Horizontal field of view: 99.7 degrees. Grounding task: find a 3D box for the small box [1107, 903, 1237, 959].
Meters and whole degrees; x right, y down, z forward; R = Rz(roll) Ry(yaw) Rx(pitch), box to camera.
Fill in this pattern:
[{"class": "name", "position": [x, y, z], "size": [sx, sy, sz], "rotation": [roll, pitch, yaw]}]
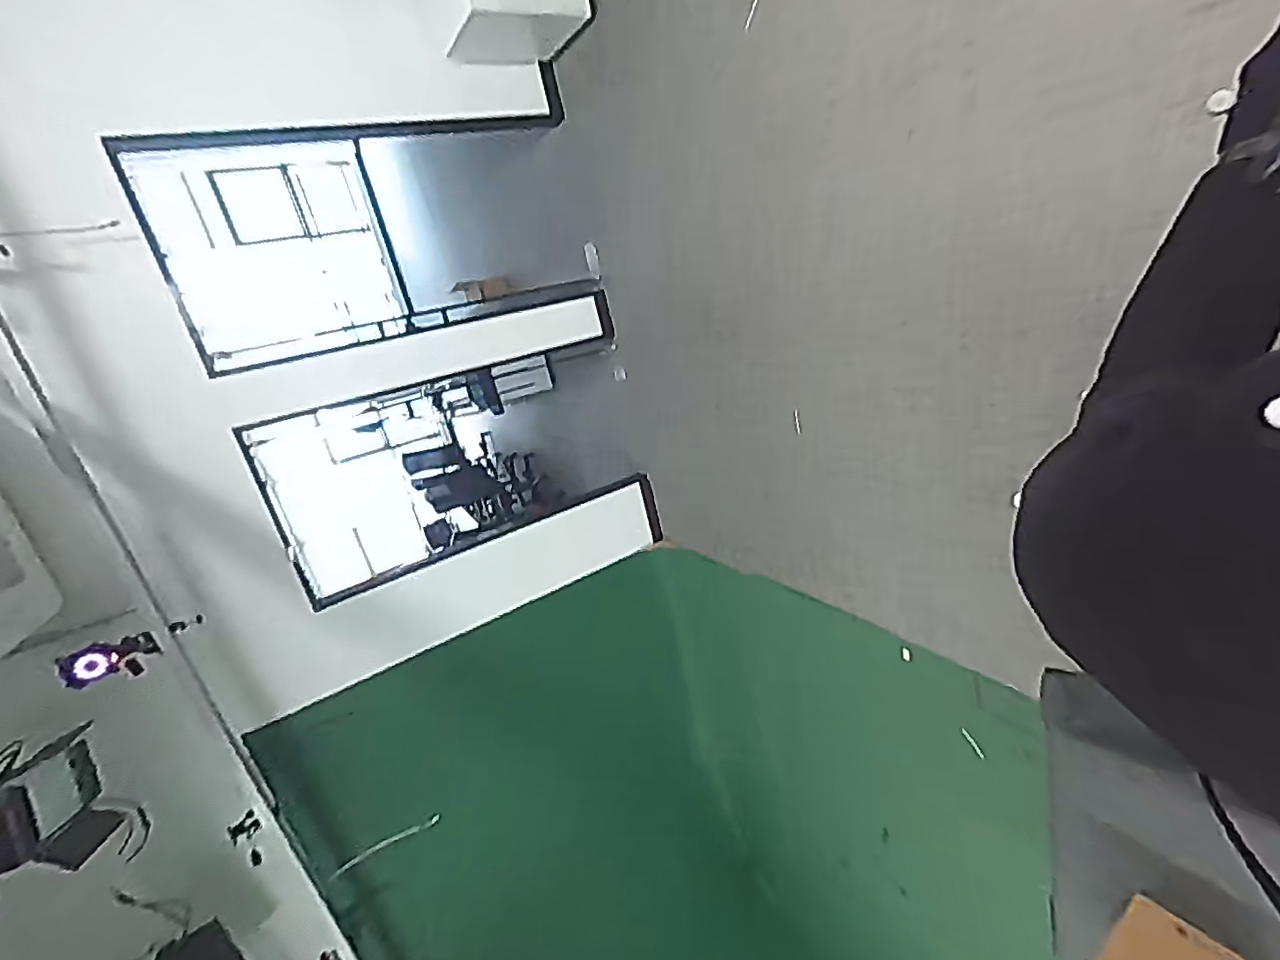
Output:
[{"class": "small box", "position": [0.842, 0.820, 0.835], "size": [0.168, 0.176, 0.179], "rotation": [18, 126, 58]}]
